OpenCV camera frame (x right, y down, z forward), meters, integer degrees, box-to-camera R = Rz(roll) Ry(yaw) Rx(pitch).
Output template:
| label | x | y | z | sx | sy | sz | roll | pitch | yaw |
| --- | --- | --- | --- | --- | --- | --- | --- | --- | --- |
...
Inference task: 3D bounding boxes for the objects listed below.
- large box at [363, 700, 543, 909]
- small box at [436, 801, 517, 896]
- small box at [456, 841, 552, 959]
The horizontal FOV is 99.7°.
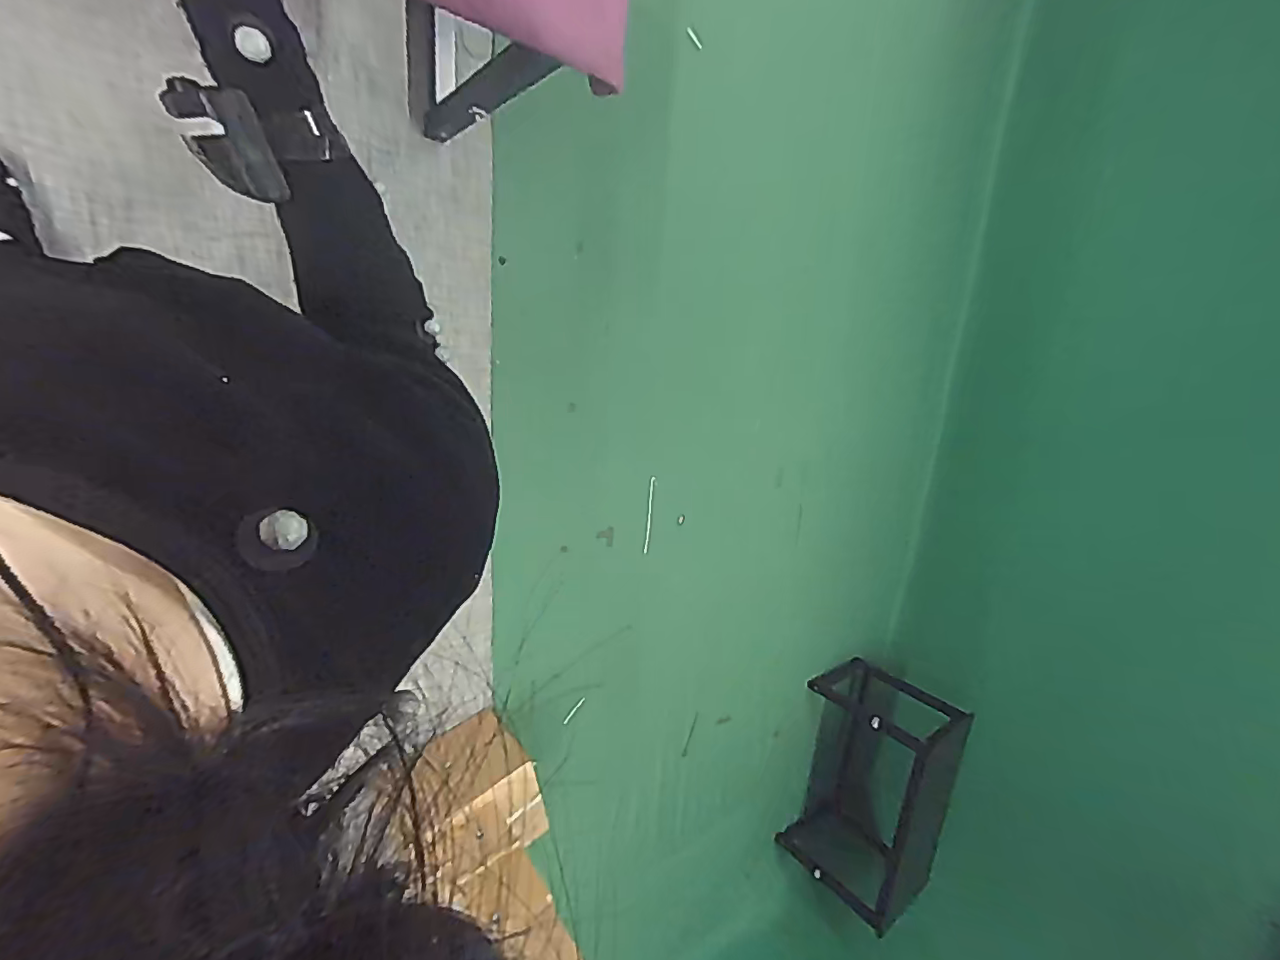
| label | x | y | z | sx | sy | sz | roll | pitch | yaw |
| --- | --- | --- | --- | --- | --- | --- | --- | --- | --- |
| large box | -0.579 | 0.990 | 1.700 | 0.408 | 0.320 | 0.320 | -25 | 120 | -34 |
| small box | -0.446 | 1.029 | 1.493 | 0.168 | 0.176 | 0.179 | -17 | 115 | -35 |
| small box | -0.346 | 1.076 | 1.374 | 0.179 | 0.176 | 0.168 | -16 | 114 | -36 |
